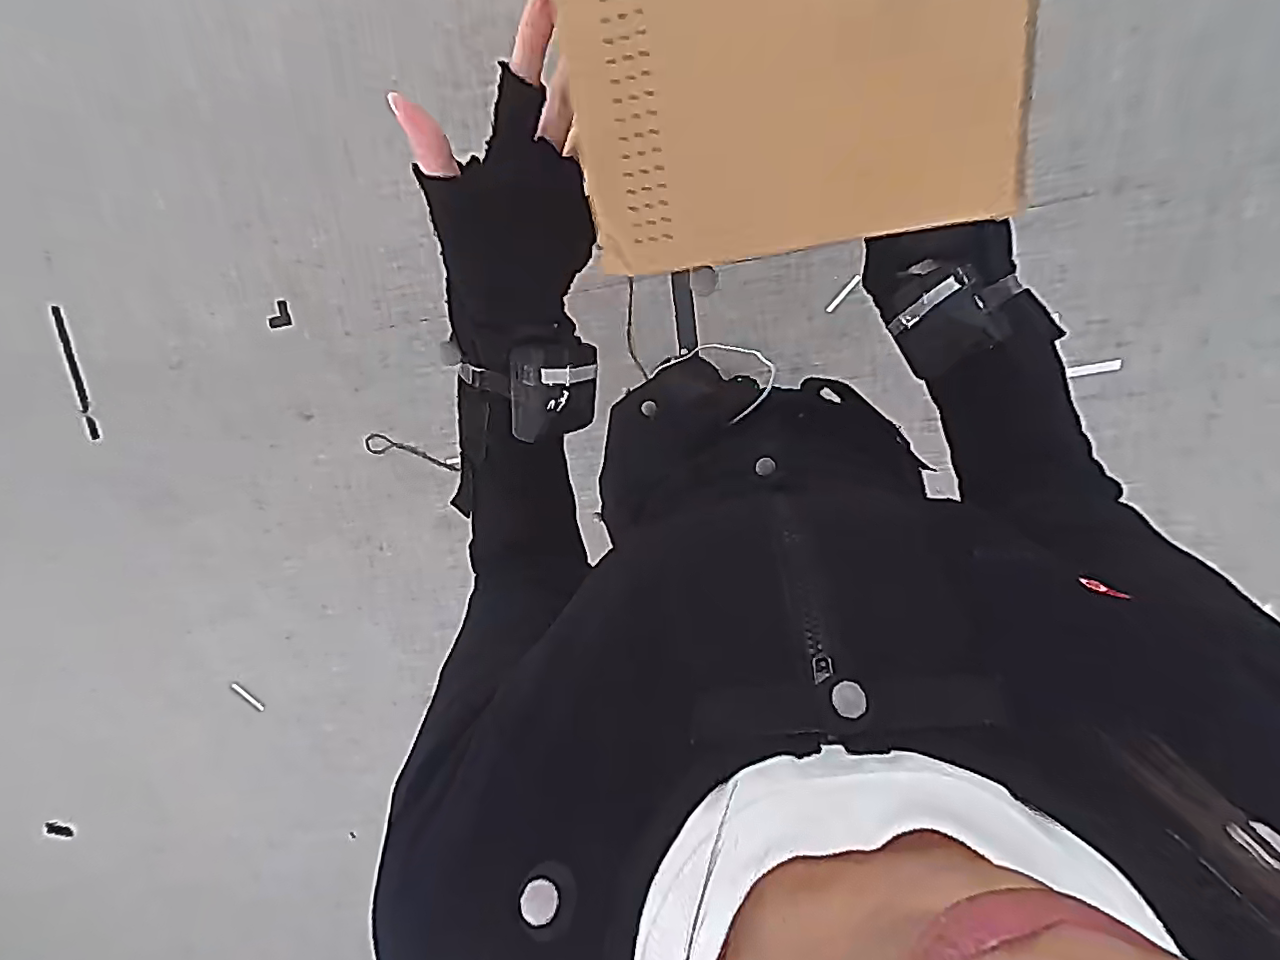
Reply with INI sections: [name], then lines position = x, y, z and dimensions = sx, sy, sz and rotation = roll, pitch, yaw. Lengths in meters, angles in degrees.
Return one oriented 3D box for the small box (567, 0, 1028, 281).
[small box]
position = 0.062, -0.210, 0.274
dimensions = 0.176, 0.168, 0.179
rotation = -5, 112, 11
